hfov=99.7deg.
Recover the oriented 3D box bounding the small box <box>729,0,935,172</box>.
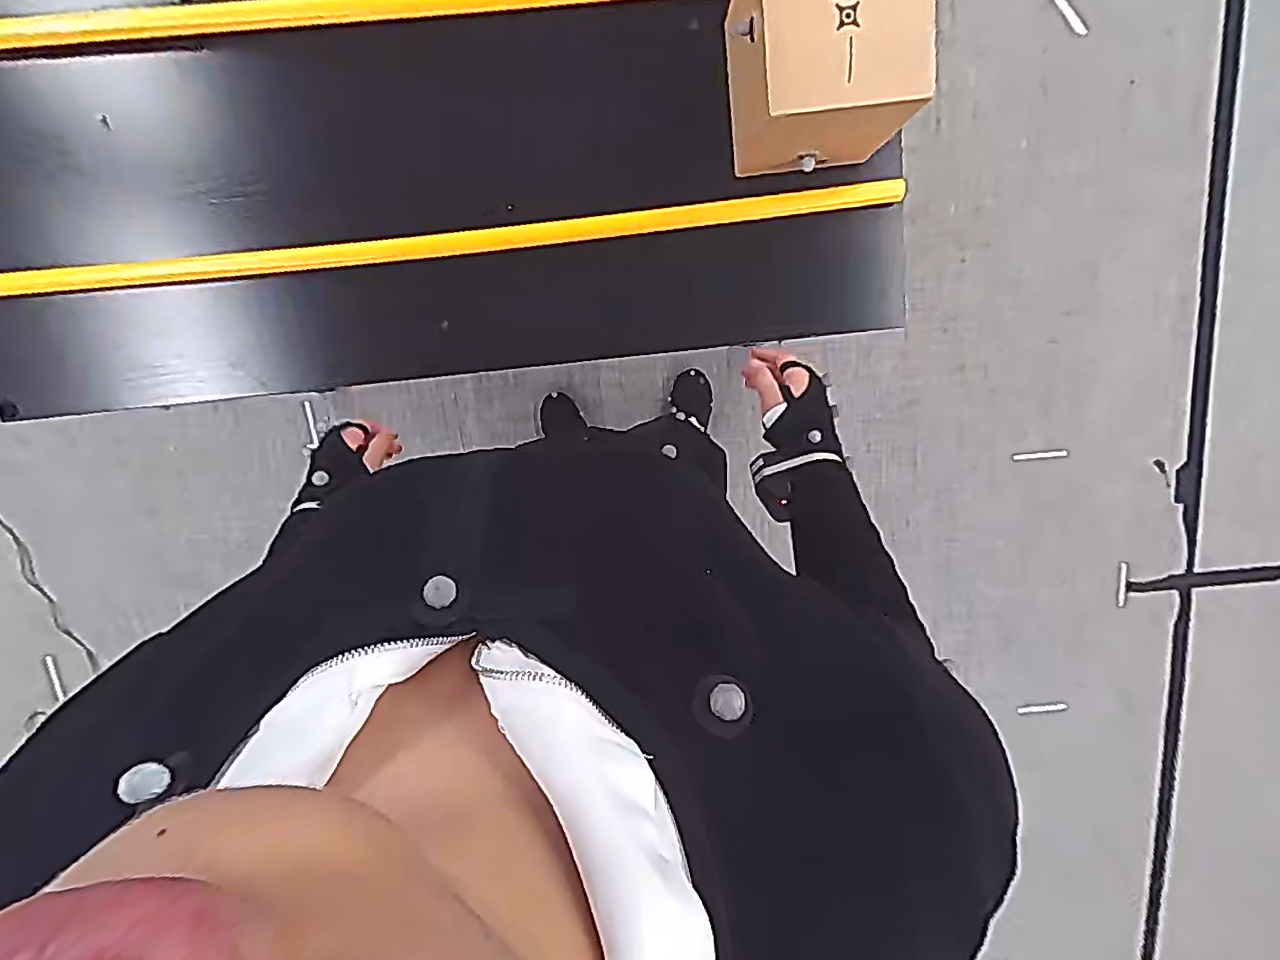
[{"bbox_3d":[0.197,-0.470,0.594,0.168,0.176,0.179,-6,101,0],"label":"small box"}]
